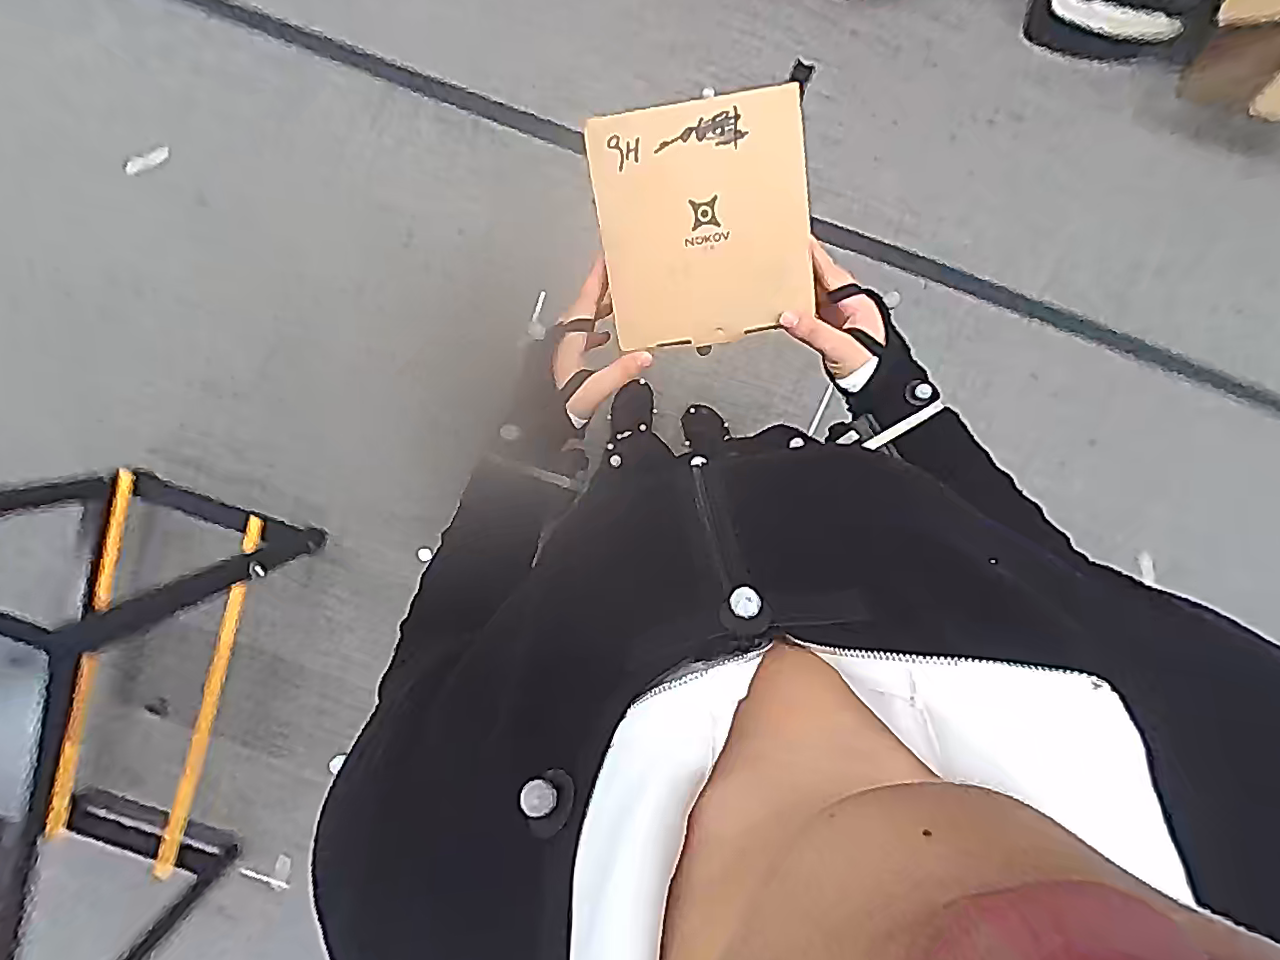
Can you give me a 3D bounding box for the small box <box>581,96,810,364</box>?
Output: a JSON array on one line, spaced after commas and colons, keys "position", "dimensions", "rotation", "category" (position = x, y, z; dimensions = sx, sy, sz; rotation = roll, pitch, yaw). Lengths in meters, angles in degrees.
[{"position": [0.048, -0.215, 0.506], "dimensions": [0.168, 0.176, 0.179], "rotation": [-10, 106, 2], "category": "small box"}]
